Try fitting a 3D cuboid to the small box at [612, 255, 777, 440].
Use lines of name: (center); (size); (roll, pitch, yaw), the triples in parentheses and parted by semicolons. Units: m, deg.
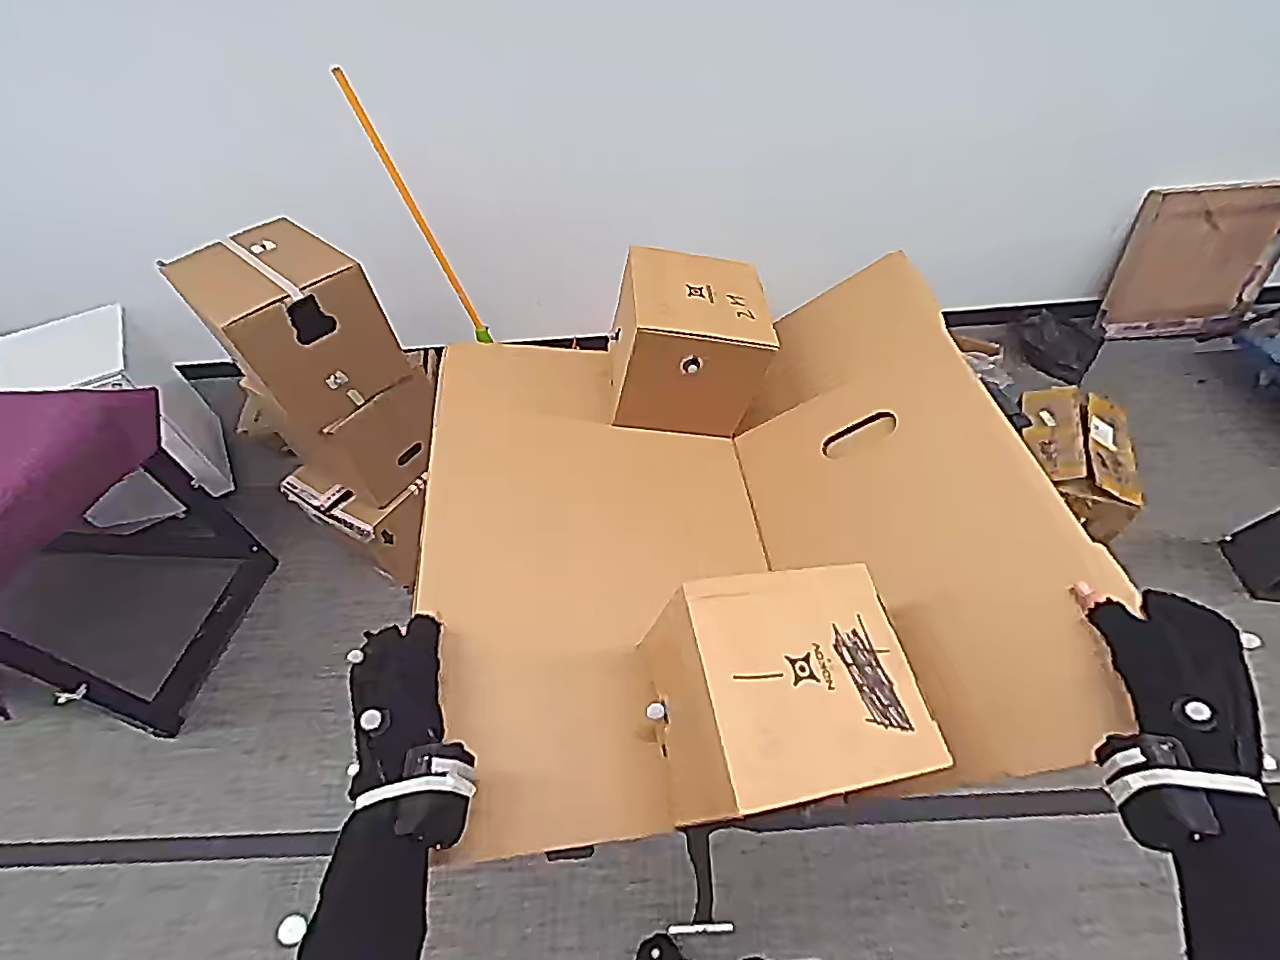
small box: (0.058, -0.170, 0.728); (0.179, 0.176, 0.168); (5, 54, -12)
